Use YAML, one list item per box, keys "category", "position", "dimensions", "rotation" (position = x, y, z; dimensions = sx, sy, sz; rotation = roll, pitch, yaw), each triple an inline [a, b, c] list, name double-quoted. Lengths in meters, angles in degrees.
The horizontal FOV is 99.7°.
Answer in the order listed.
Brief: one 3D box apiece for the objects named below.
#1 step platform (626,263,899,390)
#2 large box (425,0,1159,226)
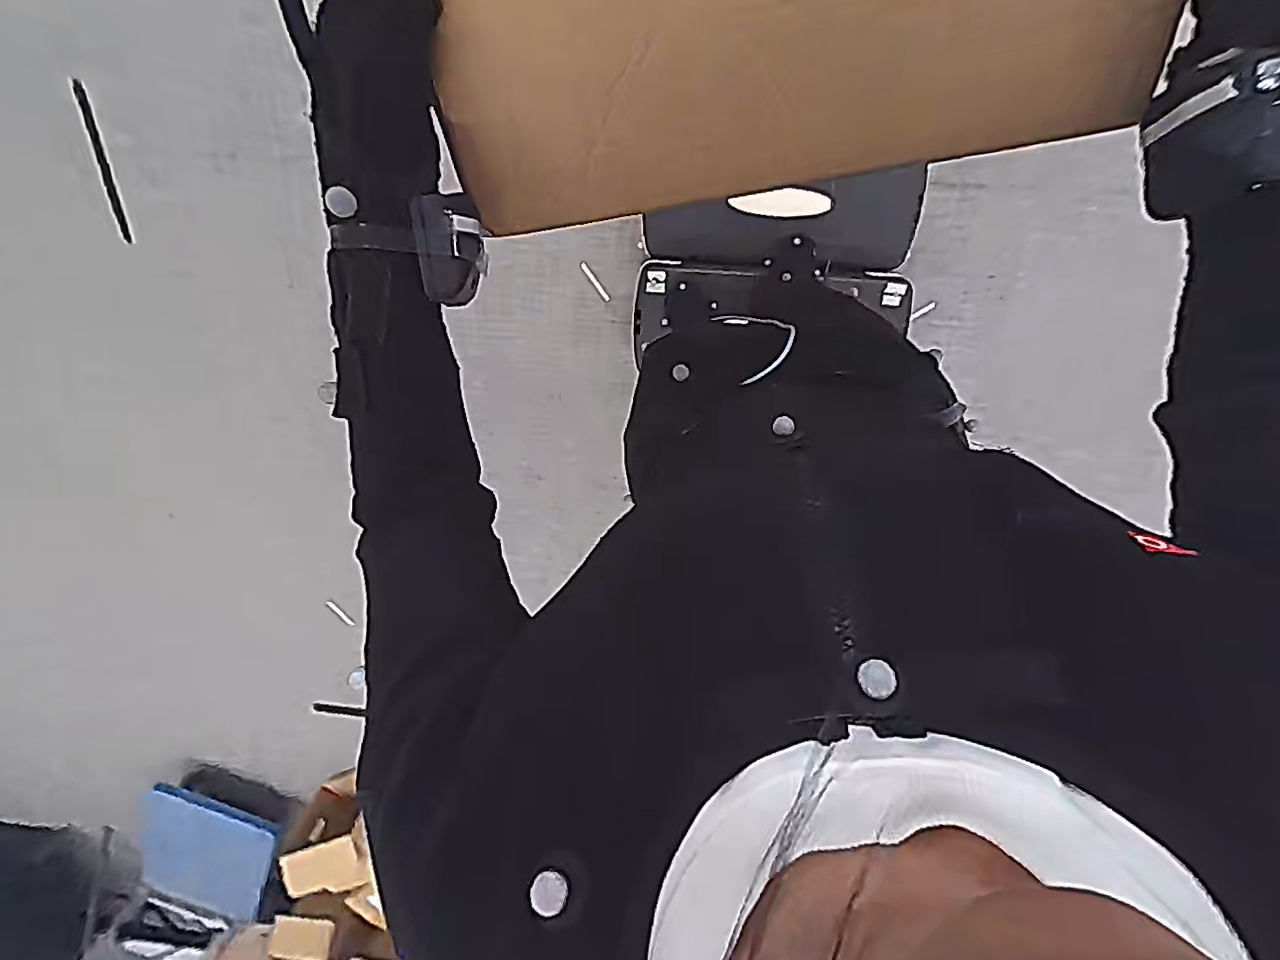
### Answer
- category: "step platform"
  position: [0.303, -0.406, 1.422]
  dimensions: [0.684, 0.204, 0.286]
  rotation: [5, 114, 6]
- category: "large box"
  position: [0.074, -0.409, 0.375]
  dimensions: [0.408, 0.320, 0.320]
  rotation: [-5, 129, 9]
